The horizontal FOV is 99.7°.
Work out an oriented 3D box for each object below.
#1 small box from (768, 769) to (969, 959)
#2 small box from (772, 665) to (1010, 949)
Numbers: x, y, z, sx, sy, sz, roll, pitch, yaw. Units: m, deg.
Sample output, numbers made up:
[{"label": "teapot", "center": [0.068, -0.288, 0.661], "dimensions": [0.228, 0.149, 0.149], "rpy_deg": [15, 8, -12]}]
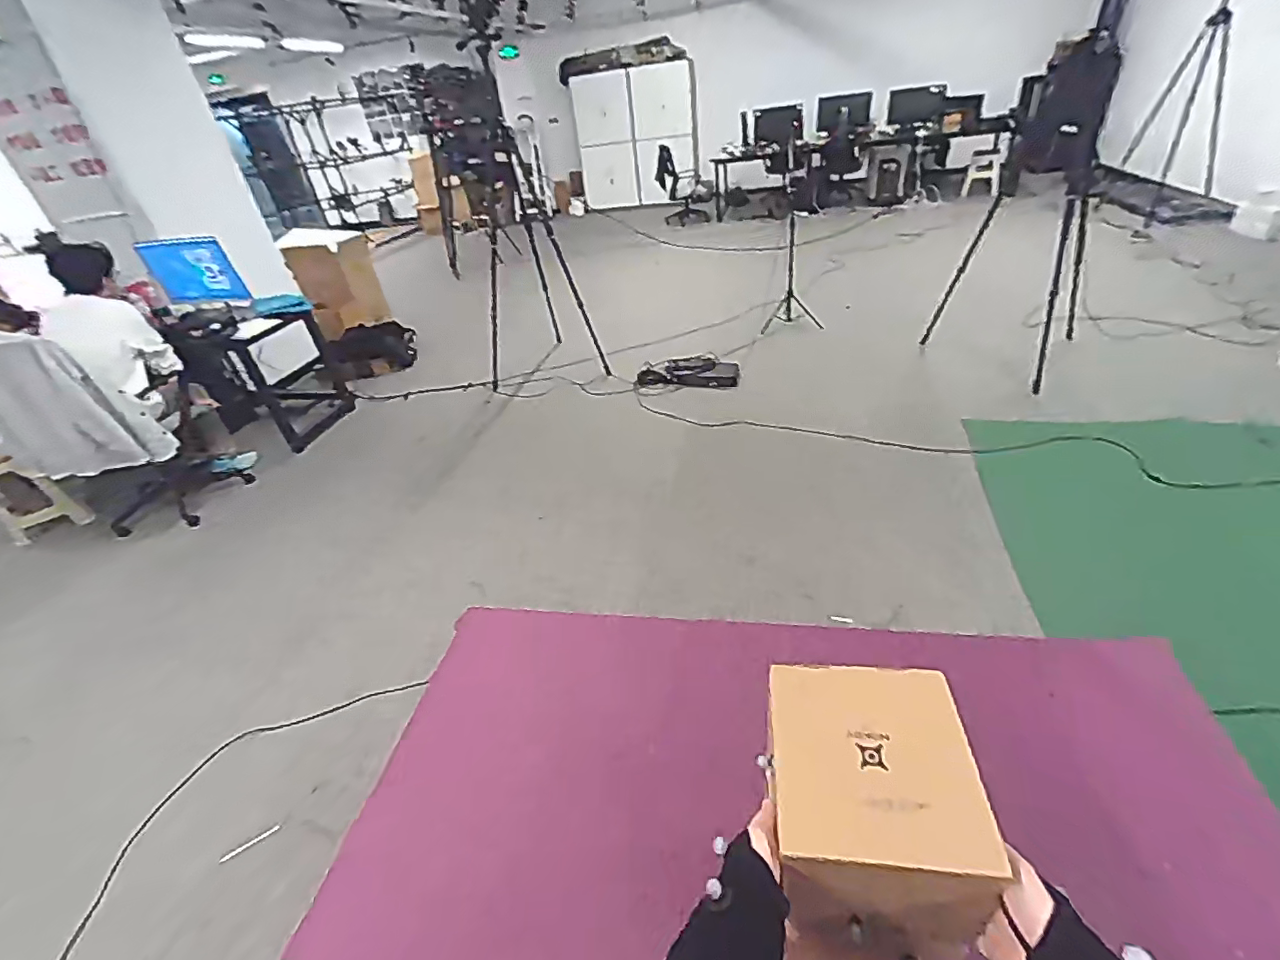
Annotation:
[{"label": "small box", "center": [0.237, 0.440, 0.612], "dimensions": [0.179, 0.176, 0.168], "rpy_deg": [0, 35, 13]}, {"label": "small box", "center": [0.214, 0.306, 0.521], "dimensions": [0.168, 0.176, 0.179], "rpy_deg": [-2, 36, 12]}]
